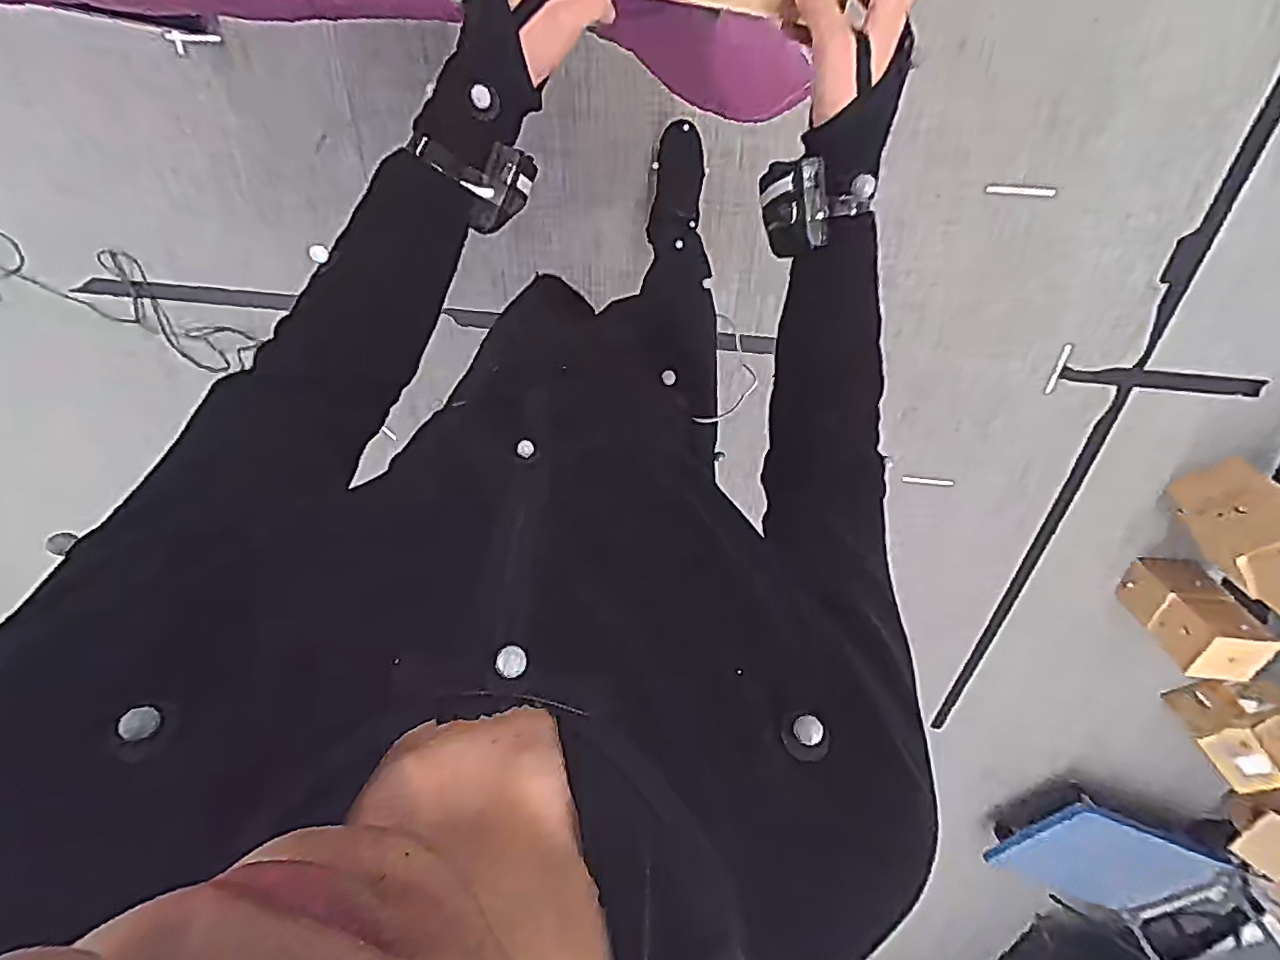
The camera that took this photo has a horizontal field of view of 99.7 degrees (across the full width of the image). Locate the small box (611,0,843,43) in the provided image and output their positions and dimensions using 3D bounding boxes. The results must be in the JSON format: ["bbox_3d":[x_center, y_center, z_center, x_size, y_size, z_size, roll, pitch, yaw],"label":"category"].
[{"bbox_3d":[0.071,-0.450,0.393,0.179,0.176,0.168,8,136,-3],"label":"small box"}]
